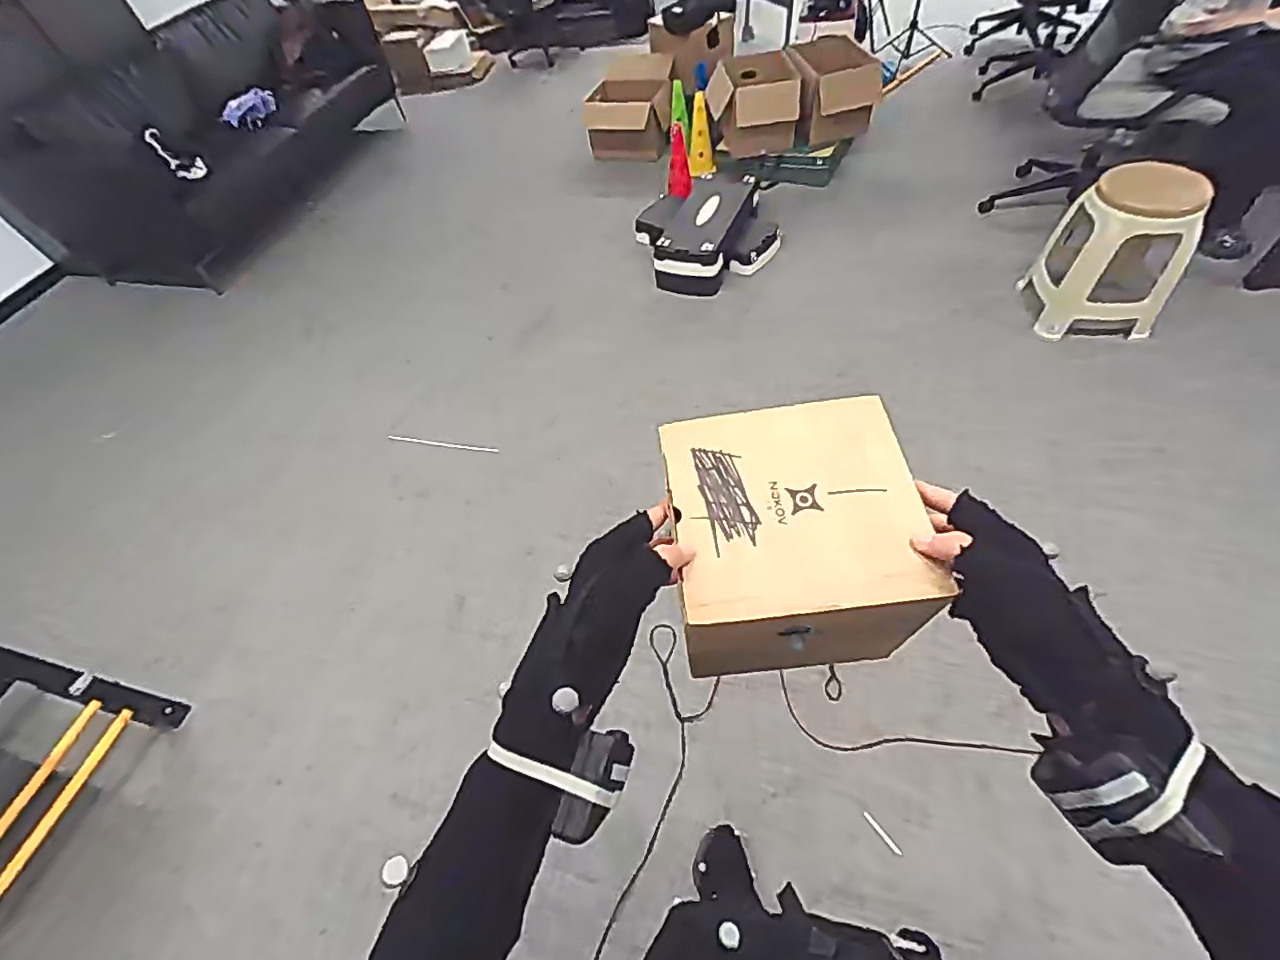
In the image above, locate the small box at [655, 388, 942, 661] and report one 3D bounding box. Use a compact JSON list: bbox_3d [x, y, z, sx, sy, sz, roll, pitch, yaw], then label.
[{"bbox_3d":[0.113,0.047,0.459,0.179,0.176,0.168,-7,59,3],"label":"small box"}]
